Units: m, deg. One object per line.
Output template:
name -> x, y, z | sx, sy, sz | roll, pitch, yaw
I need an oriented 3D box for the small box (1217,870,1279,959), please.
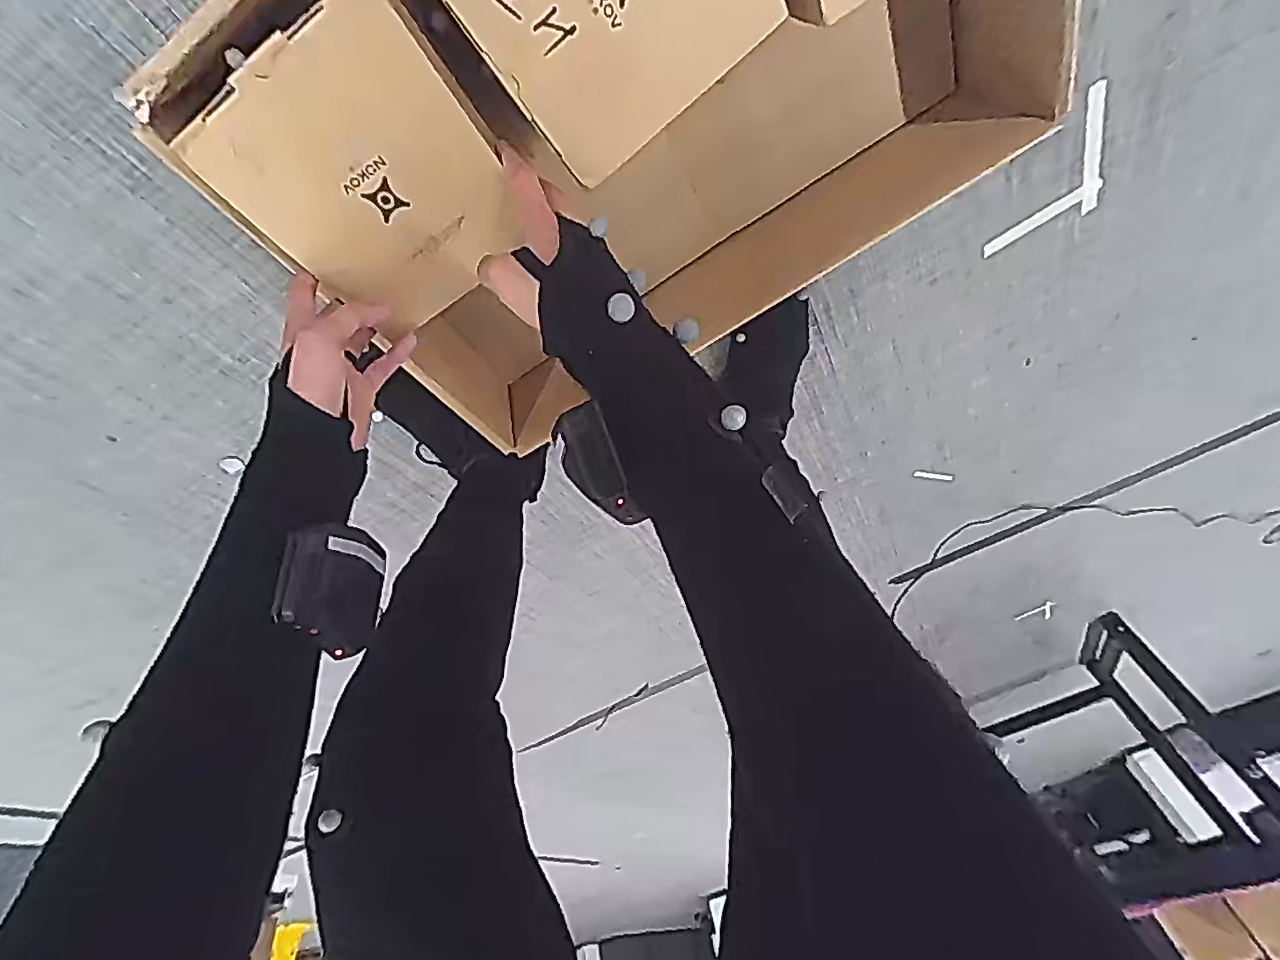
small box -> 1.739, 1.166, 1.452 | 0.179, 0.176, 0.168 | -29, 134, 12

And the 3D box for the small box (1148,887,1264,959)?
small box -> 1.732, 1.382, 1.668 | 0.168, 0.176, 0.179 | -29, 135, 13
